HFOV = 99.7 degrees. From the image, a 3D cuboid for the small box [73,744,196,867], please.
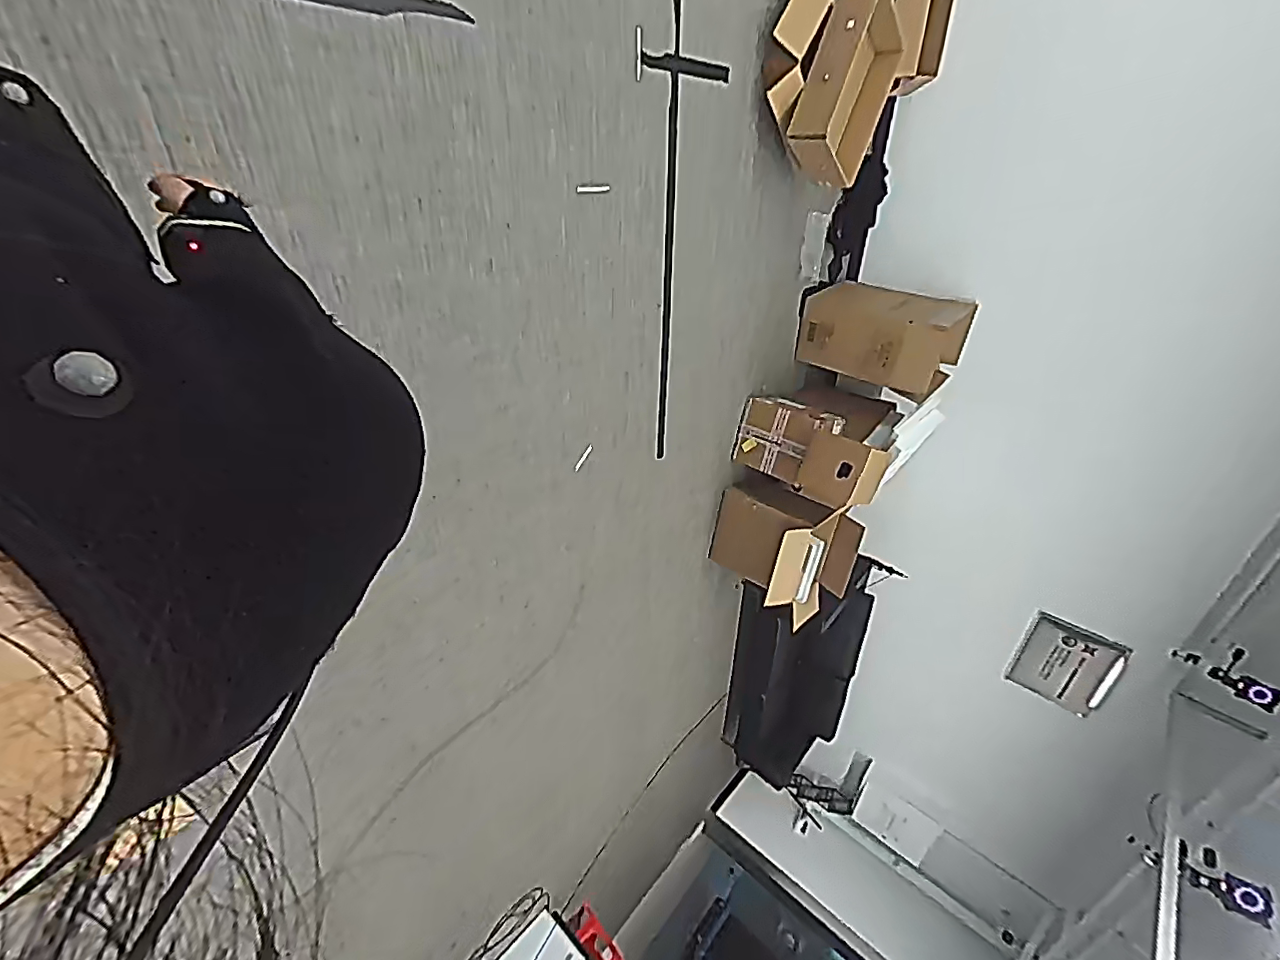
[{"bbox_3d":[-1.278,0.816,1.371,0.168,0.176,0.179,-31,135,-39],"label":"small box"}]
